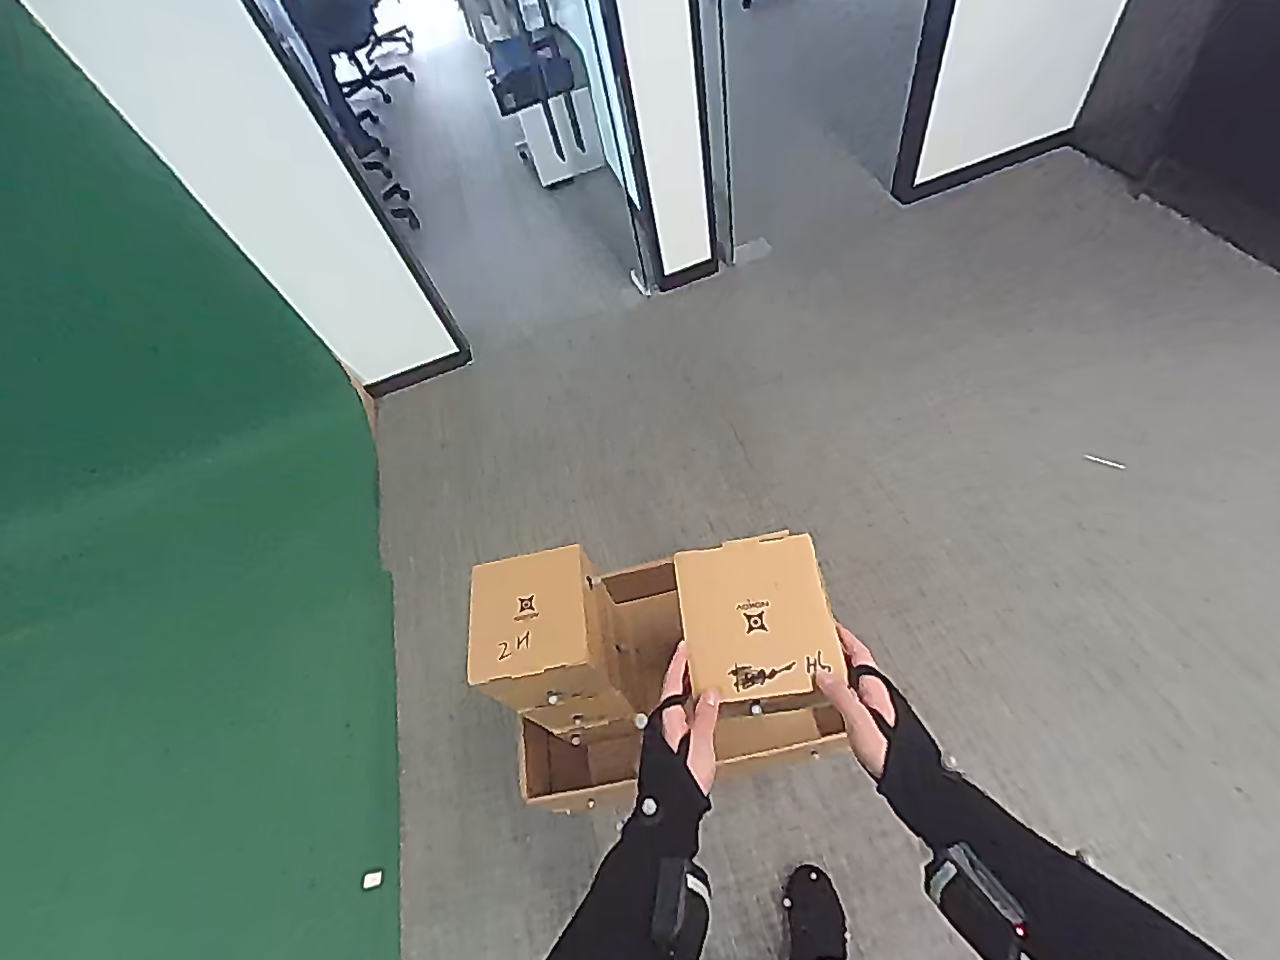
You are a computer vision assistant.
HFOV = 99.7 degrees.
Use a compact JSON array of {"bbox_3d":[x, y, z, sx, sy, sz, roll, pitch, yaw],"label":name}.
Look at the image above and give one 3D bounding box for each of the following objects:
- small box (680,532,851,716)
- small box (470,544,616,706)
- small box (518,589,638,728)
[{"bbox_3d":[0.145,0.186,0.676,0.168,0.176,0.179,-9,60,6],"label":"small box"},{"bbox_3d":[-0.137,0.223,0.814,0.168,0.176,0.179,-12,55,5],"label":"small box"},{"bbox_3d":[-0.106,0.316,0.946,0.168,0.176,0.179,-12,56,4],"label":"small box"}]
